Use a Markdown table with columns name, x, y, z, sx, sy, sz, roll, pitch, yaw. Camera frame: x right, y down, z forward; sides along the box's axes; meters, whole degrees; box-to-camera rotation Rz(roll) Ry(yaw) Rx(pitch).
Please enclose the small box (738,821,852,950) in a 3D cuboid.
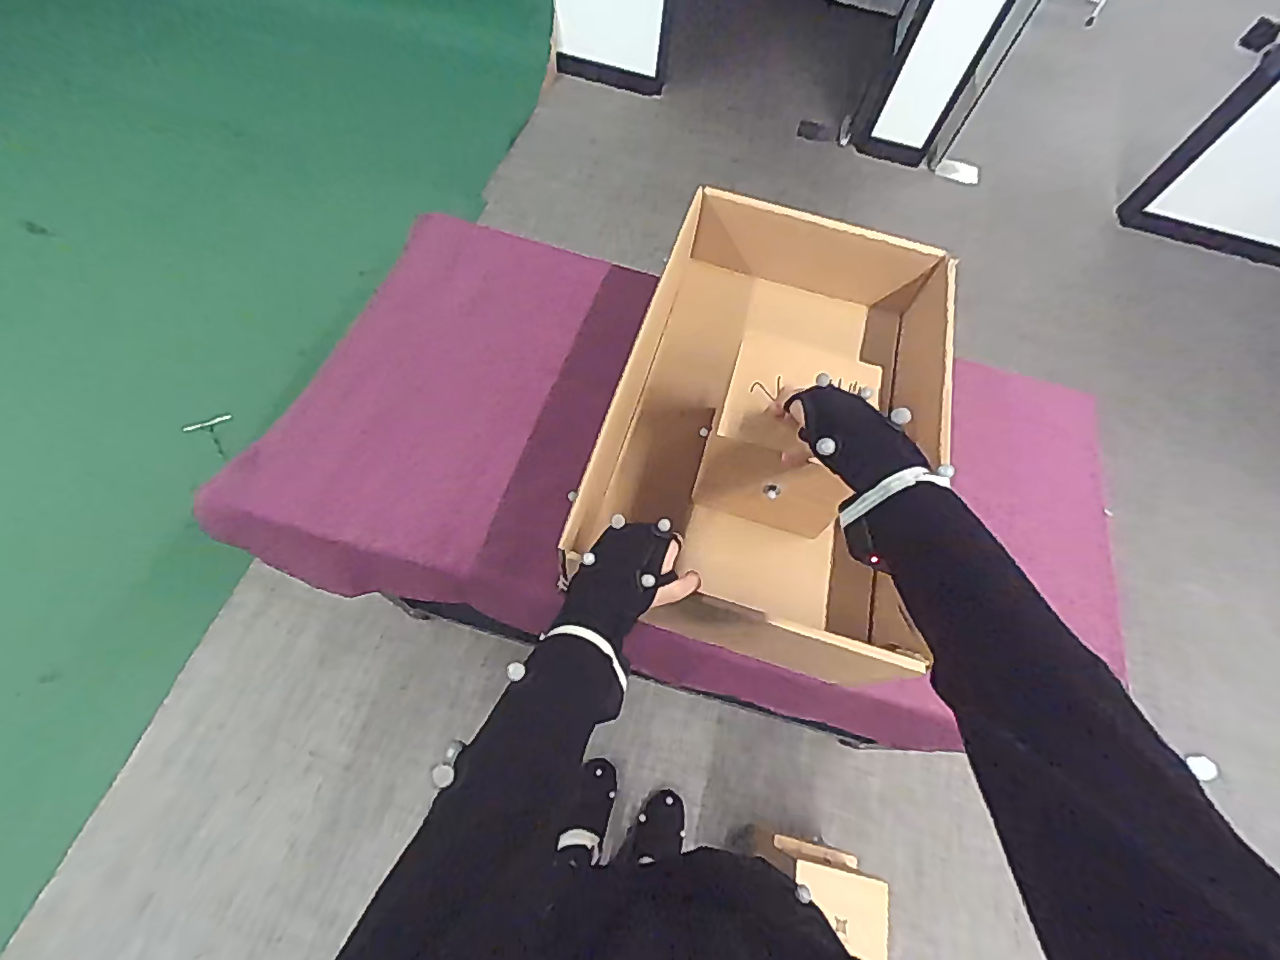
| name | x | y | z | sx | sy | sz | roll | pitch | yaw |
| --- | --- | --- | --- | --- | --- | --- | --- | --- | --- |
| small box | 0.322 | 0.842 | 1.142 | 0.179 | 0.176 | 0.168 | 15 | 64 | 2 |
